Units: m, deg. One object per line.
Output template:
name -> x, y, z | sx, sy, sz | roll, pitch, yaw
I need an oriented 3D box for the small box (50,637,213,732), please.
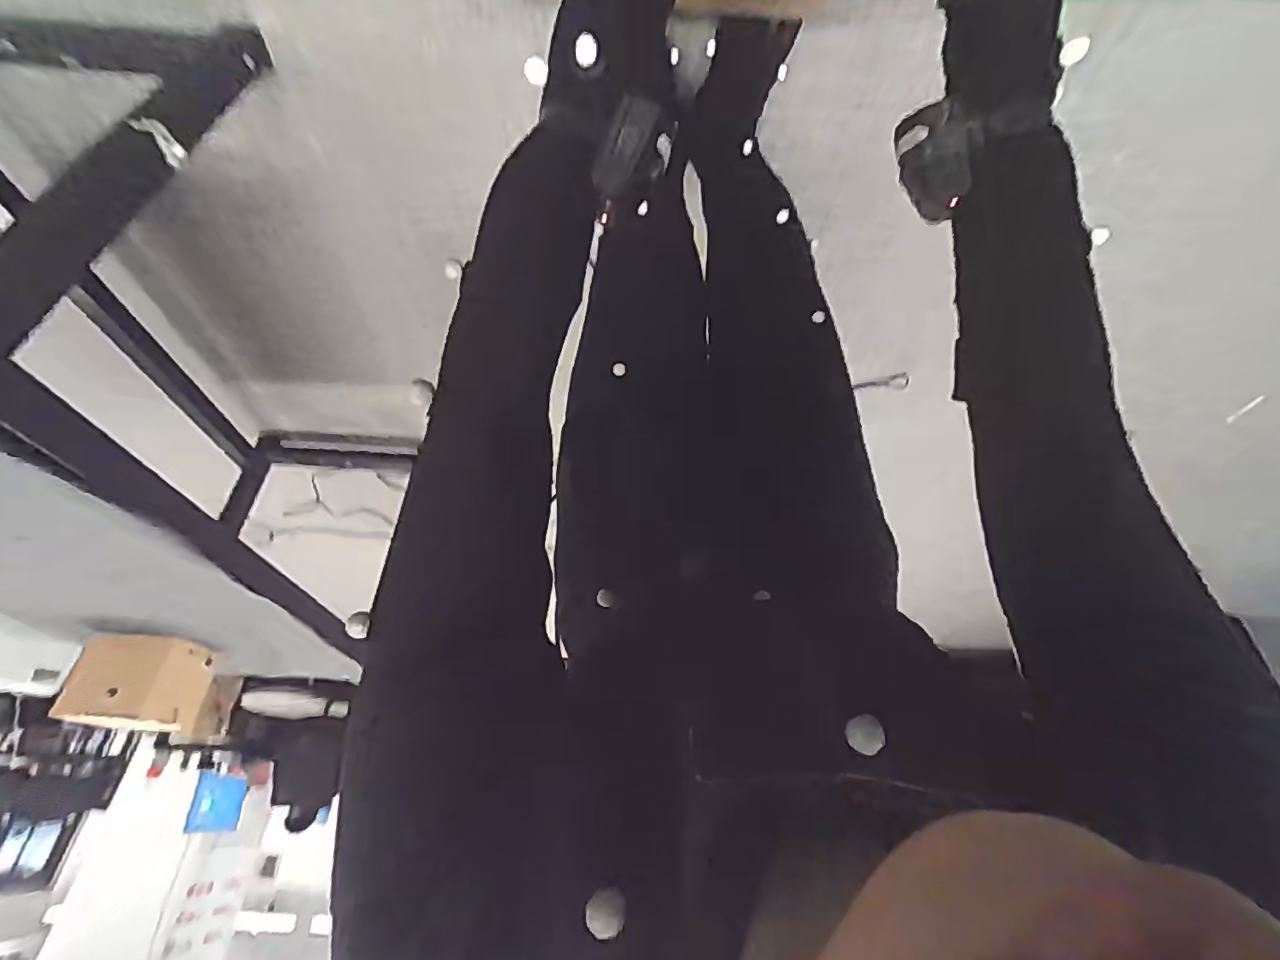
small box -> -1.082, 0.446, 1.176 | 0.179, 0.176, 0.168 | 3, 147, -1
